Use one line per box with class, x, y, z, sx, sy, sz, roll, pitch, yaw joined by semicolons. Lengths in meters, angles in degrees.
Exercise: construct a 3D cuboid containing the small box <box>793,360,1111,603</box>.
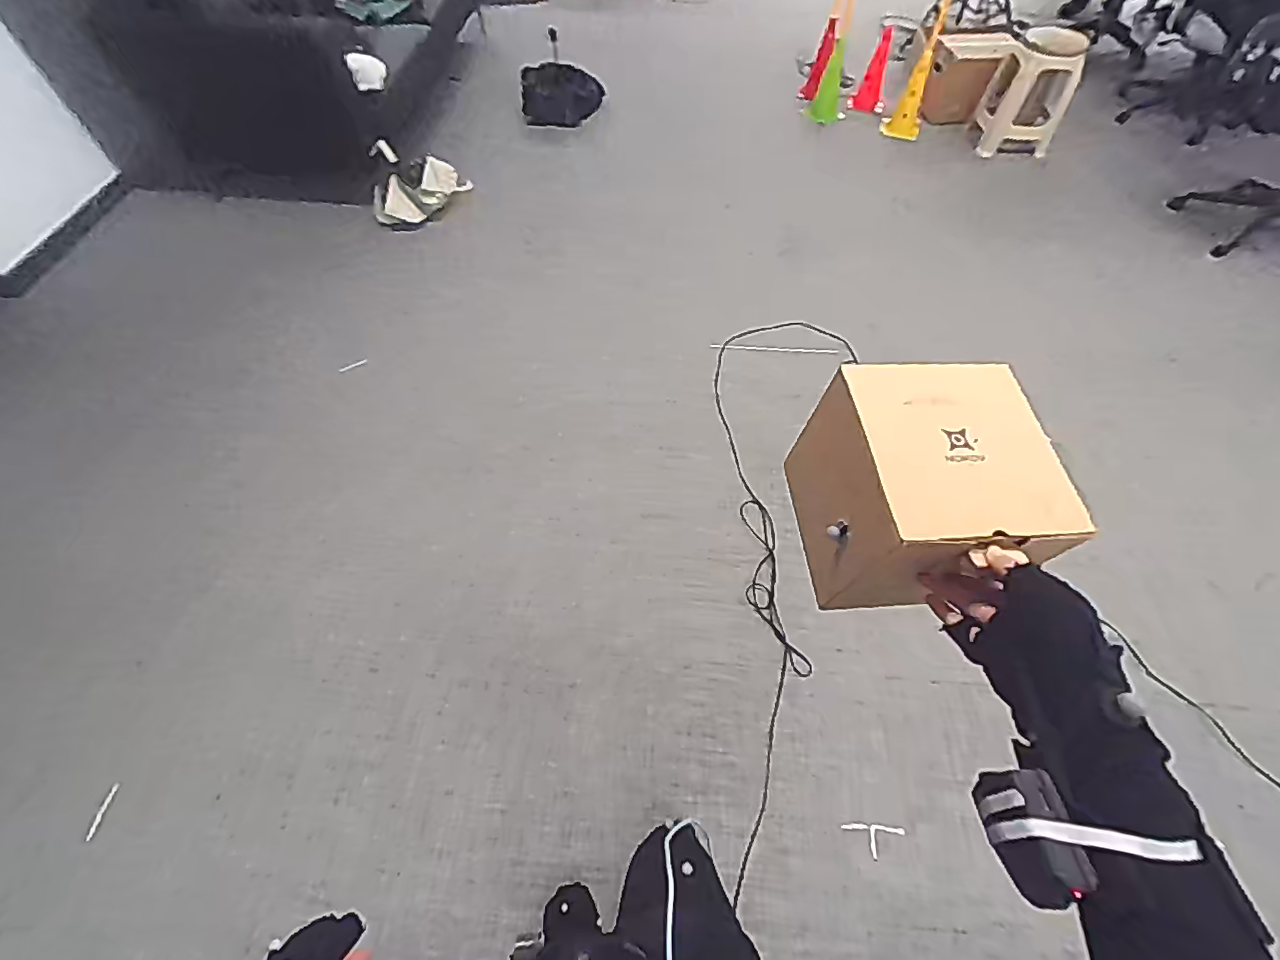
small box;0.261;0.010;0.507;0.168;0.176;0.179;-1;59;-6
